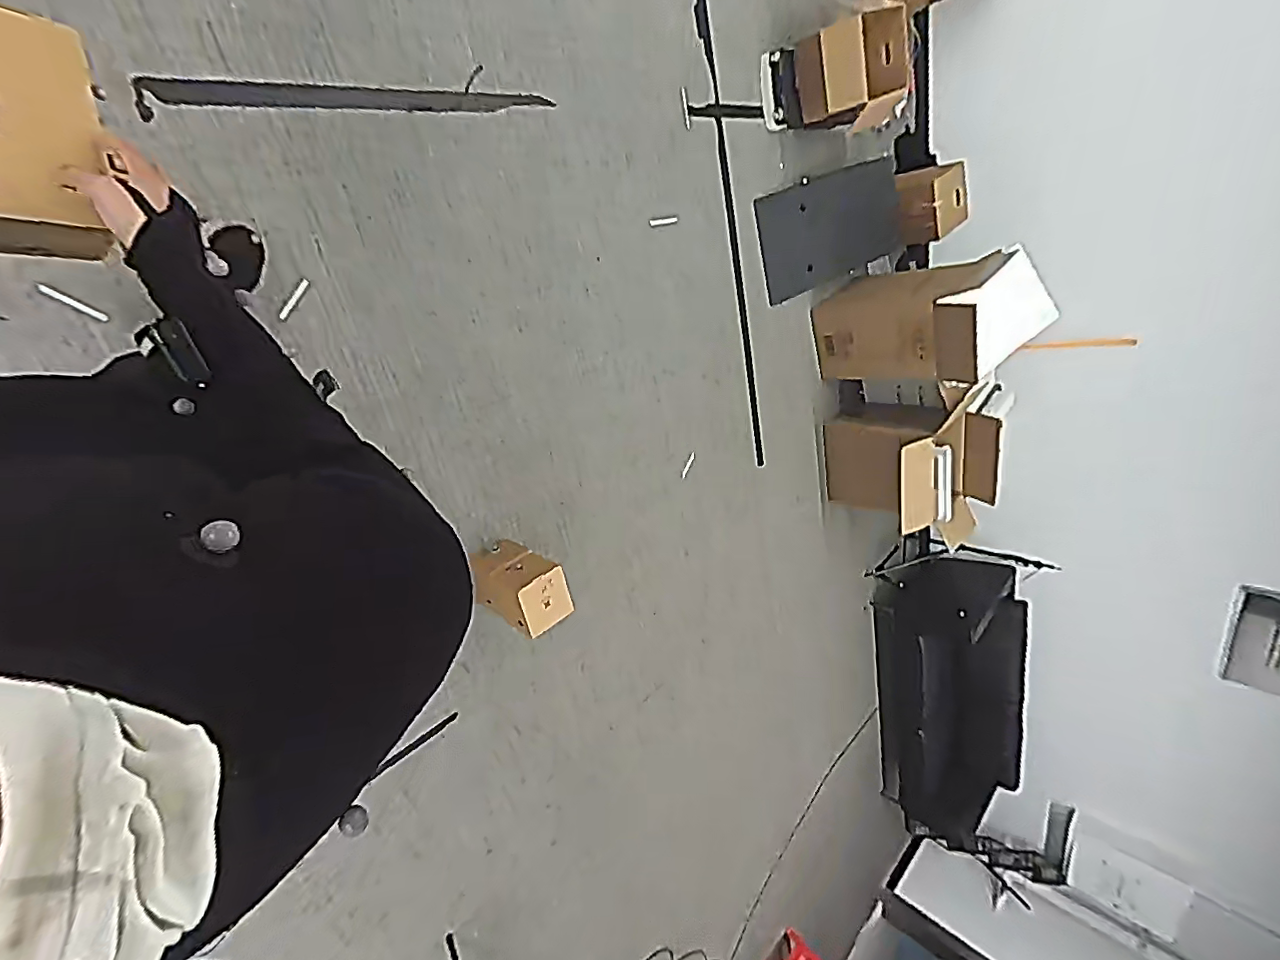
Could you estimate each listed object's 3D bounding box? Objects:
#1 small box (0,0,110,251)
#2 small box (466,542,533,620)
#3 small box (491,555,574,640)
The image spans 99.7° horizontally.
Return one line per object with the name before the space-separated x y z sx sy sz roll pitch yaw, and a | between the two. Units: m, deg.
small box | -0.614 -0.318 0.486 0.168 0.176 0.179 -18 105 -47
small box | -0.449 0.328 1.797 0.168 0.176 0.179 -30 118 -37
small box | -0.335 0.359 1.683 0.168 0.176 0.179 -30 117 -37
